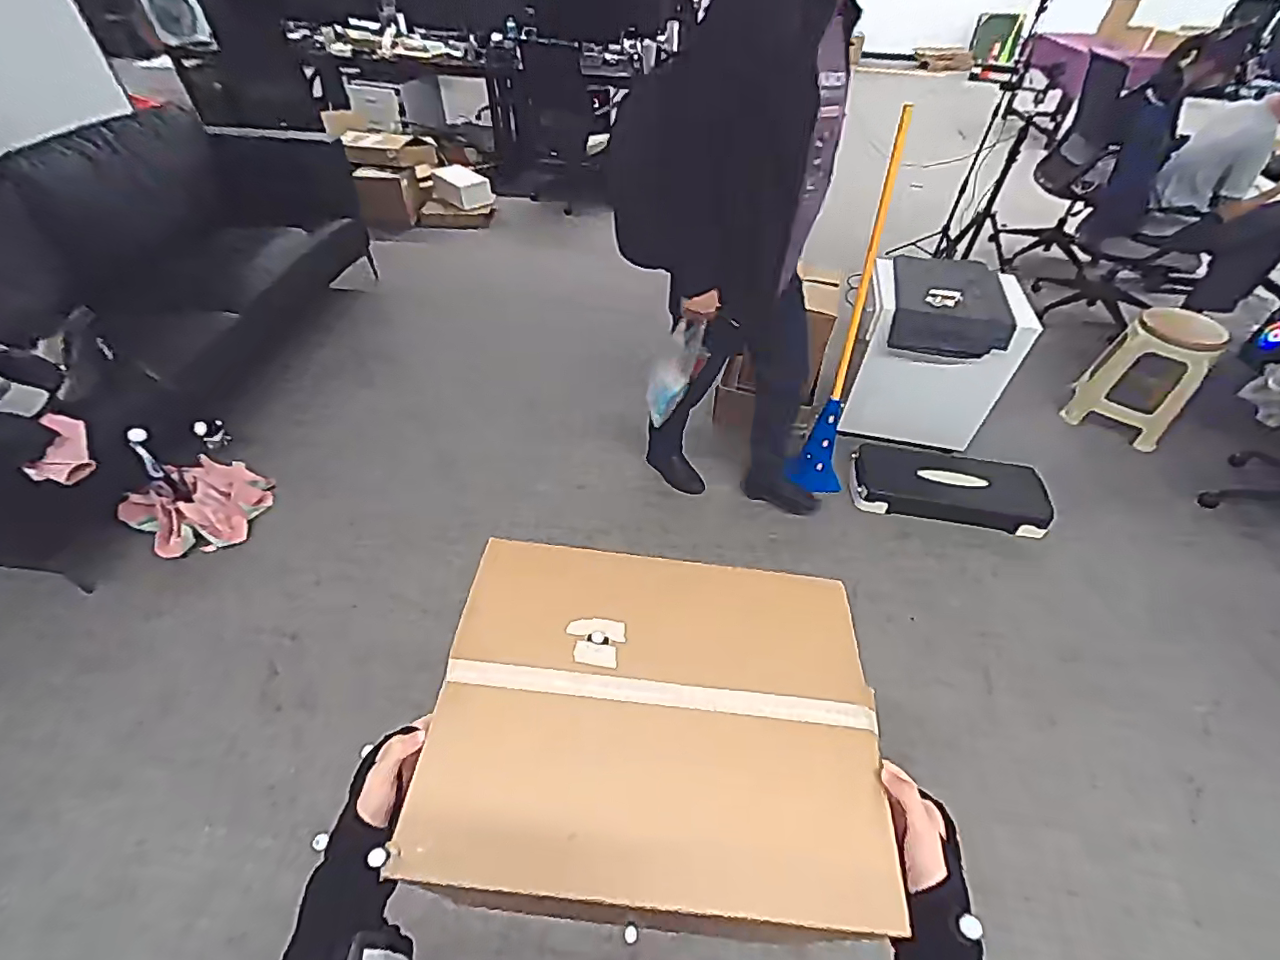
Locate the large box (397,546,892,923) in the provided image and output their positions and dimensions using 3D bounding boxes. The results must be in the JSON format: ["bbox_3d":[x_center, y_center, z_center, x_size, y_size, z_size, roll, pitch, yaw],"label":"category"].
[{"bbox_3d":[0.007,0.306,0.635,0.408,0.320,0.320,7,49,0],"label":"large box"}]
